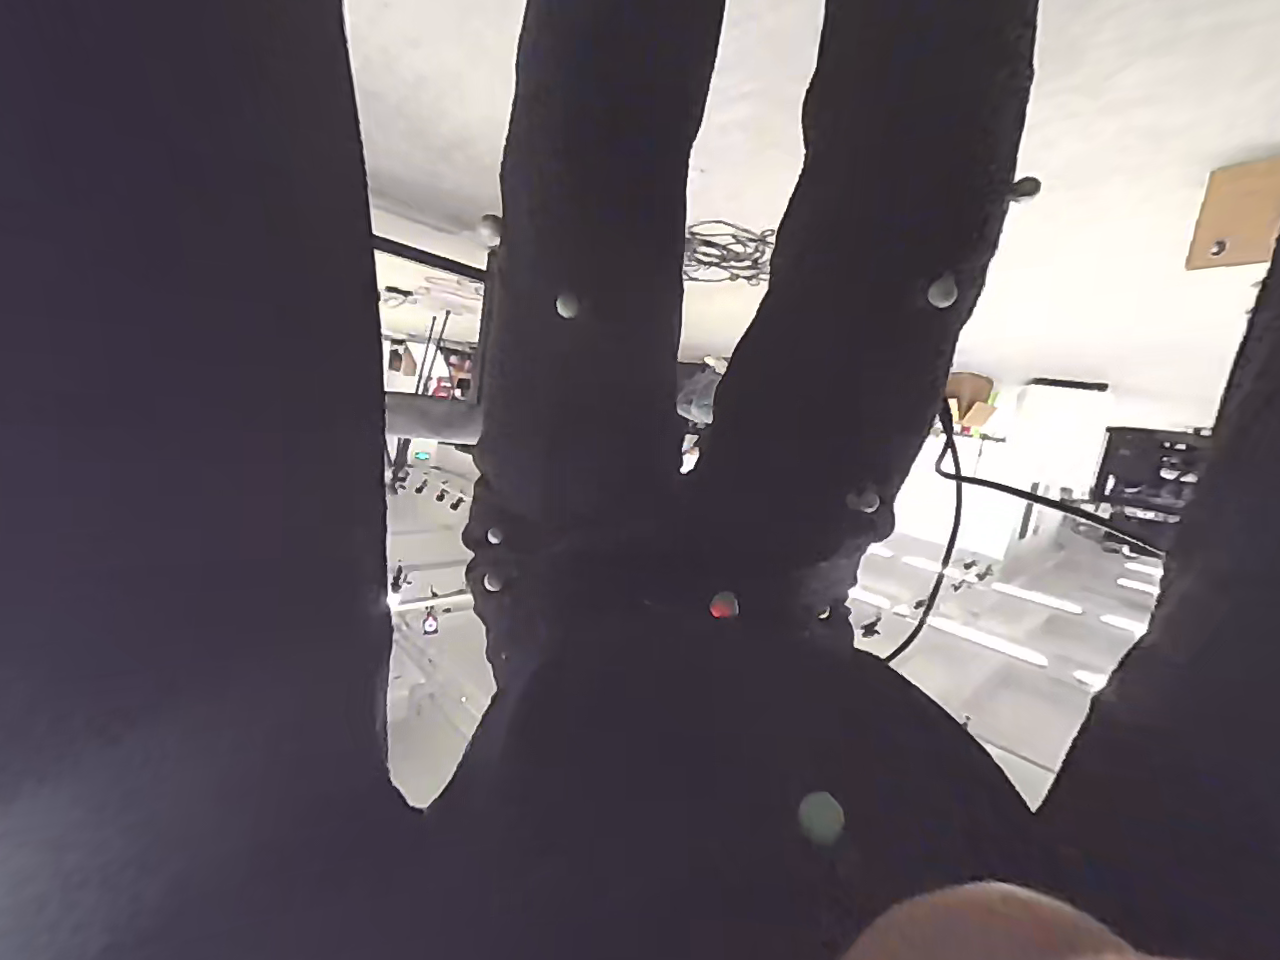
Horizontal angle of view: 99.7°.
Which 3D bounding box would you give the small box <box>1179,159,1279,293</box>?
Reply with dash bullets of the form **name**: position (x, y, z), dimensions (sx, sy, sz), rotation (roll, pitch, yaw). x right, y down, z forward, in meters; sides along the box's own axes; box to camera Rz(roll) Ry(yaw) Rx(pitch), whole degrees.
- **small box**: position (1.058, -0.421, 0.891), dimensions (0.168, 0.176, 0.179), rotation (5, -170, -27)
